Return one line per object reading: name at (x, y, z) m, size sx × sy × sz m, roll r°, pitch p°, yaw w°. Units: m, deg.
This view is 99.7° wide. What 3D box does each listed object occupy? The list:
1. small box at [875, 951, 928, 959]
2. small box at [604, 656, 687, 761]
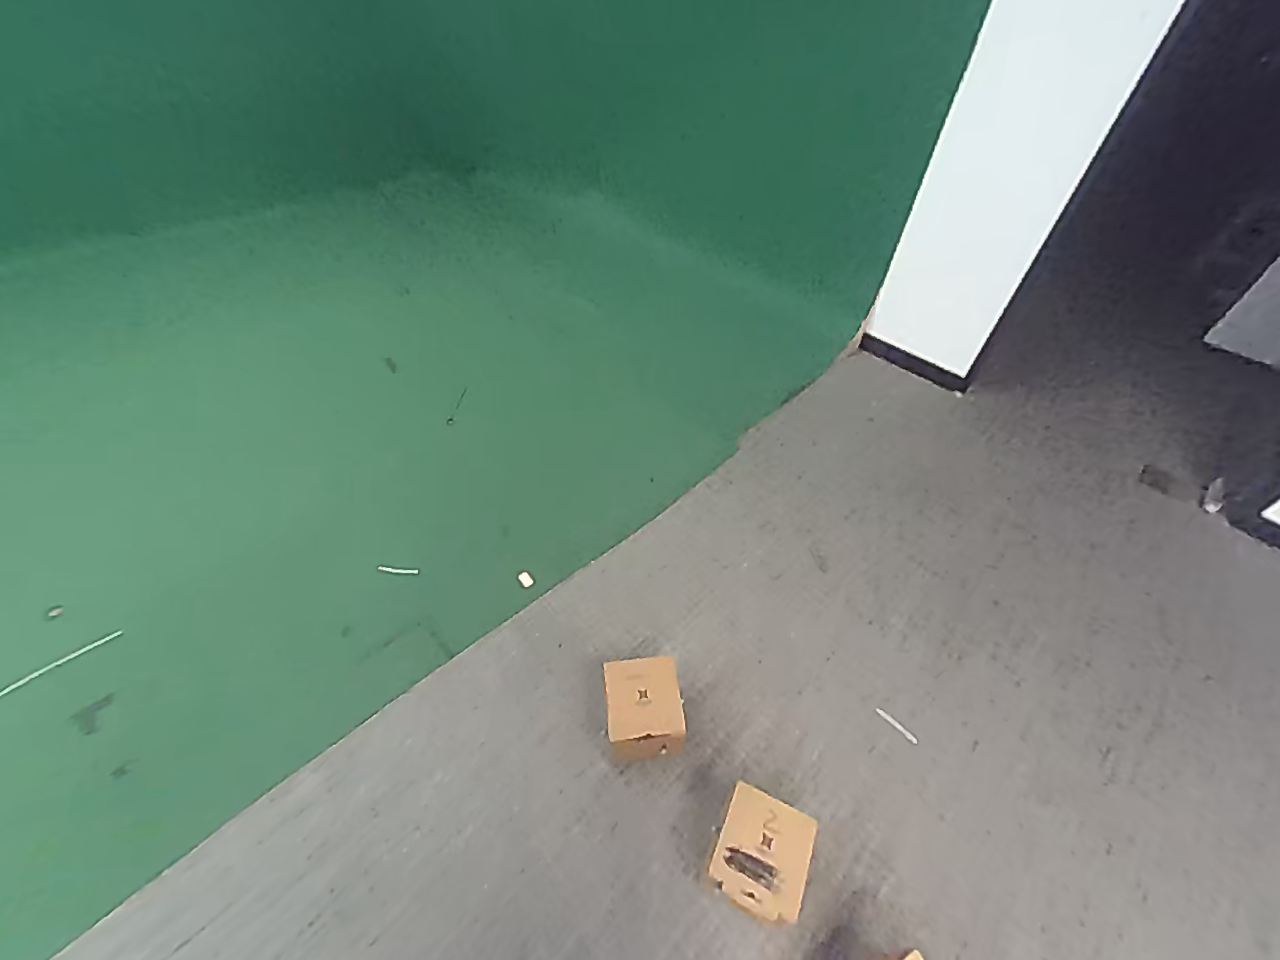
small box at (0.436, 0.930, 0.897) m, size 0.179 × 0.176 × 0.168 m, roll -23°, pitch 52°, yaw -21°
small box at (0.007, 0.530, 1.245) m, size 0.168 × 0.176 × 0.179 m, roll -4°, pitch 46°, yaw -8°
